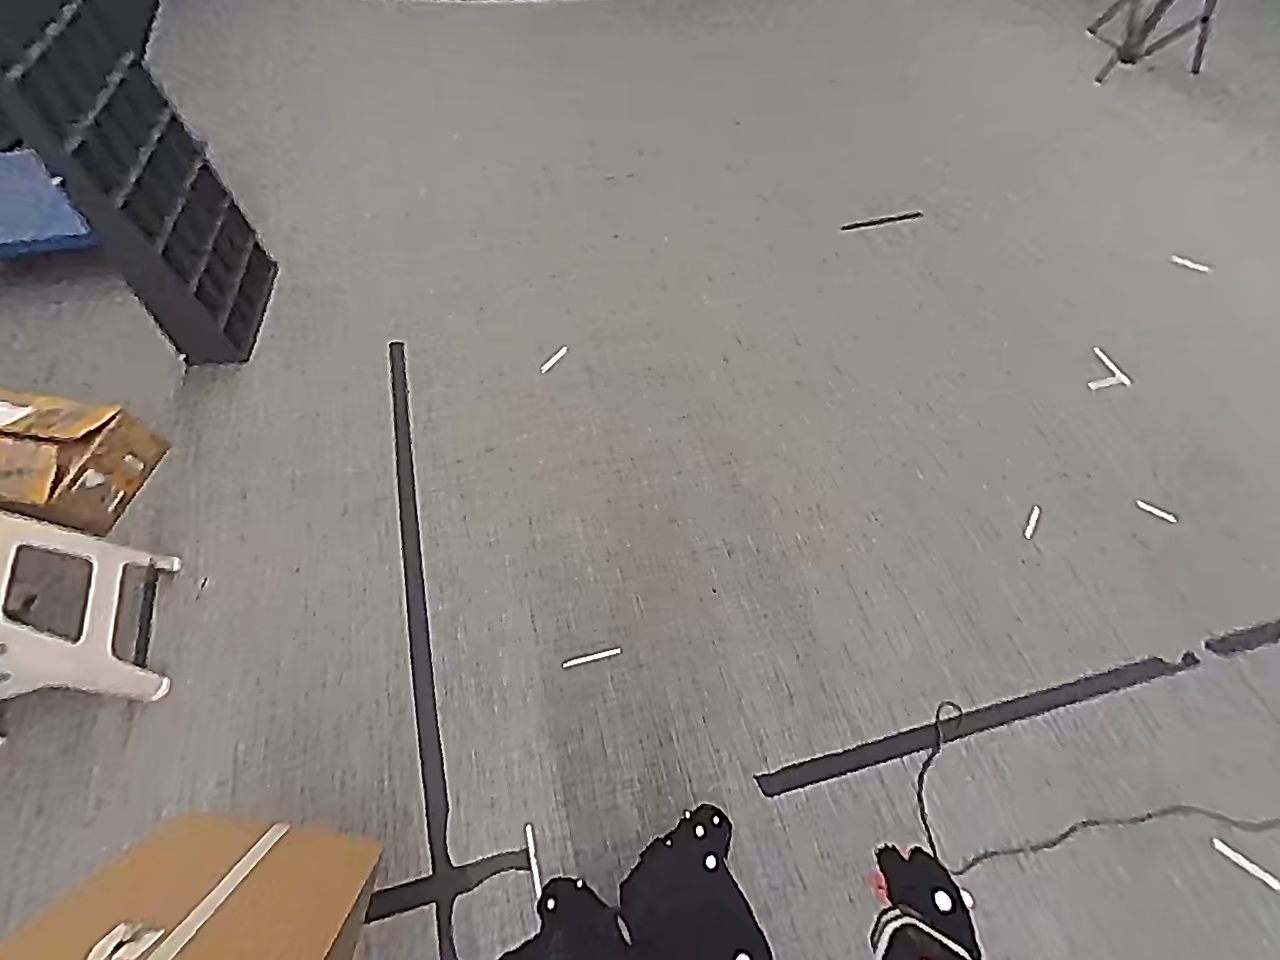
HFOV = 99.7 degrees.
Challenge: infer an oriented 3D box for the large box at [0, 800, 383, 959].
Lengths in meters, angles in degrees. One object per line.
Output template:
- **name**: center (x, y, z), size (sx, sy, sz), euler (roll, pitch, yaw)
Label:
- **large box**: center (-0.570, 0.671, 0.650), size (0.320, 0.408, 0.320), euler (16, 84, -6)
